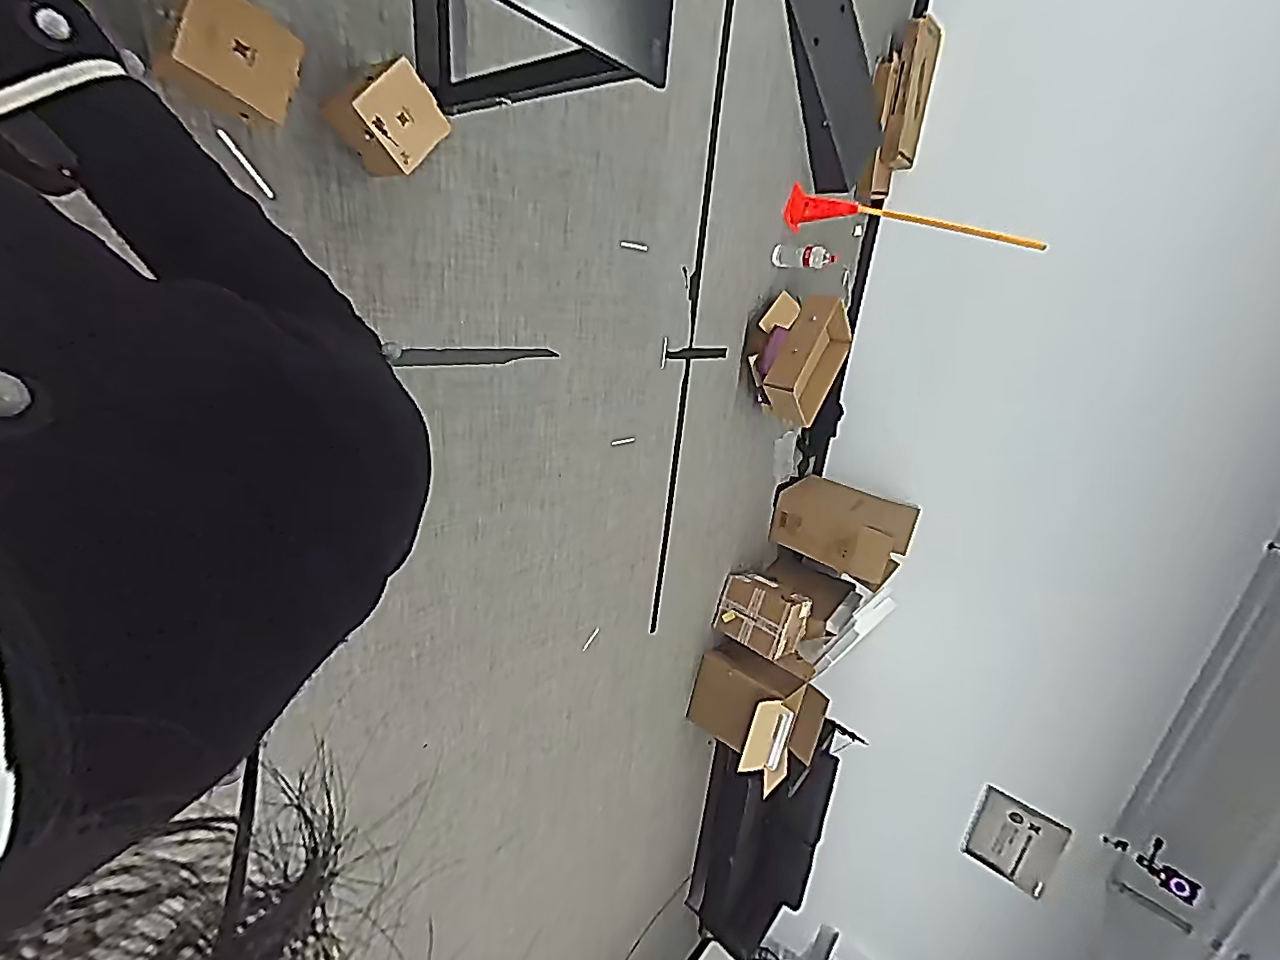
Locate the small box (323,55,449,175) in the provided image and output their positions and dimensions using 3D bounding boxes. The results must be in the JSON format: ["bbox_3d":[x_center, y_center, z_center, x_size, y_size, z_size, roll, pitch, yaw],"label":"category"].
[{"bbox_3d":[-0.594,-0.845,1.264,0.179,0.176,0.168,-57,142,-15],"label":"small box"}]

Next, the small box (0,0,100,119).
[{"bbox_3d":[-0.986,-0.689,0.840,0.168,0.176,0.179,-18,122,-47],"label":"small box"}]

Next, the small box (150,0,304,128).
[{"bbox_3d":[-0.790,-0.809,1.035,0.179,0.176,0.168,15,94,-53],"label":"small box"}]
